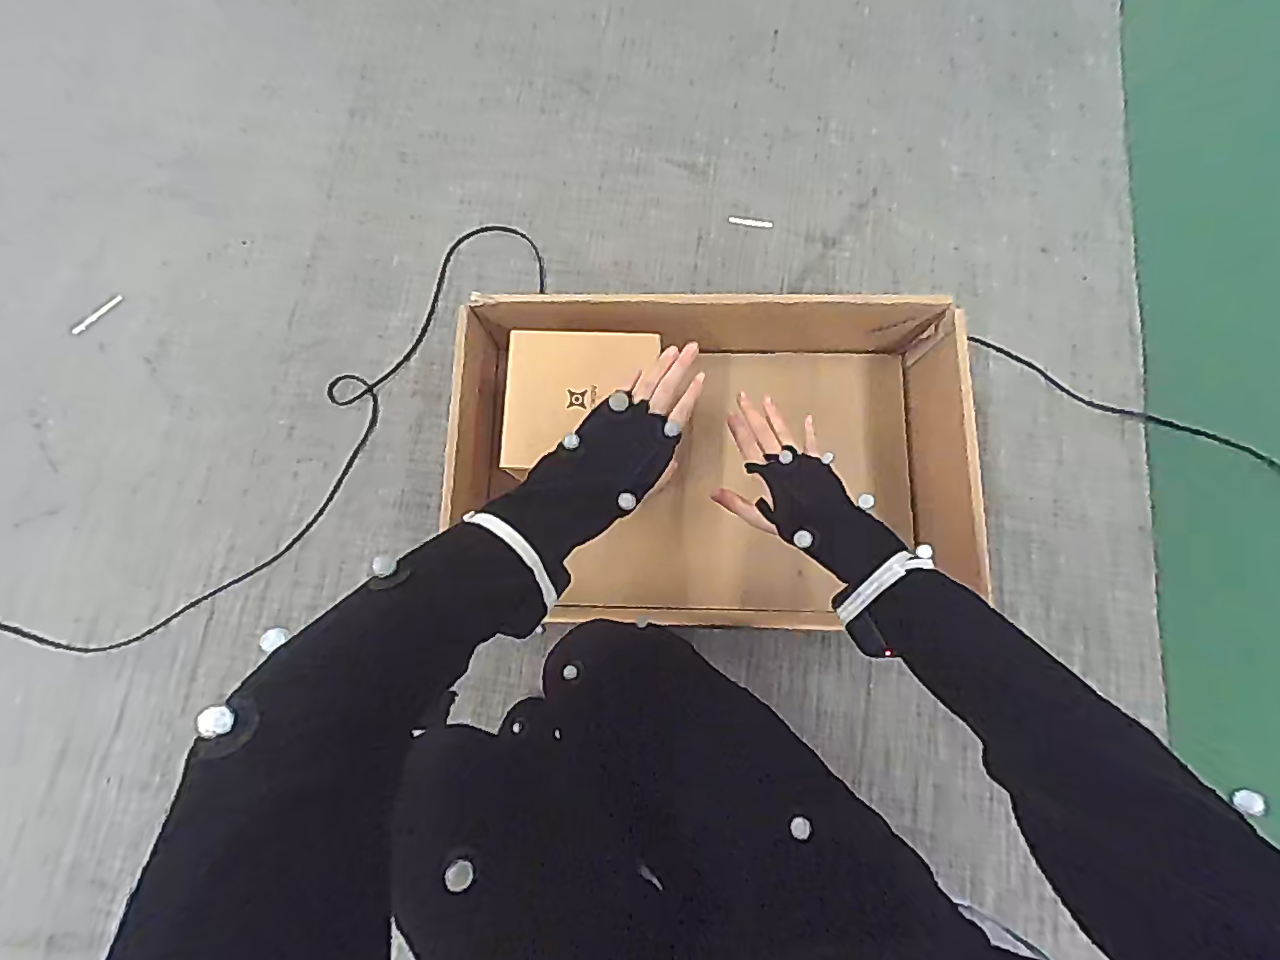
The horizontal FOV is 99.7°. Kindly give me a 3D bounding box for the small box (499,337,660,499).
[{"bbox_3d":[-0.065,-0.069,0.692,0.179,0.176,0.168,2,80,2],"label":"small box"}]
